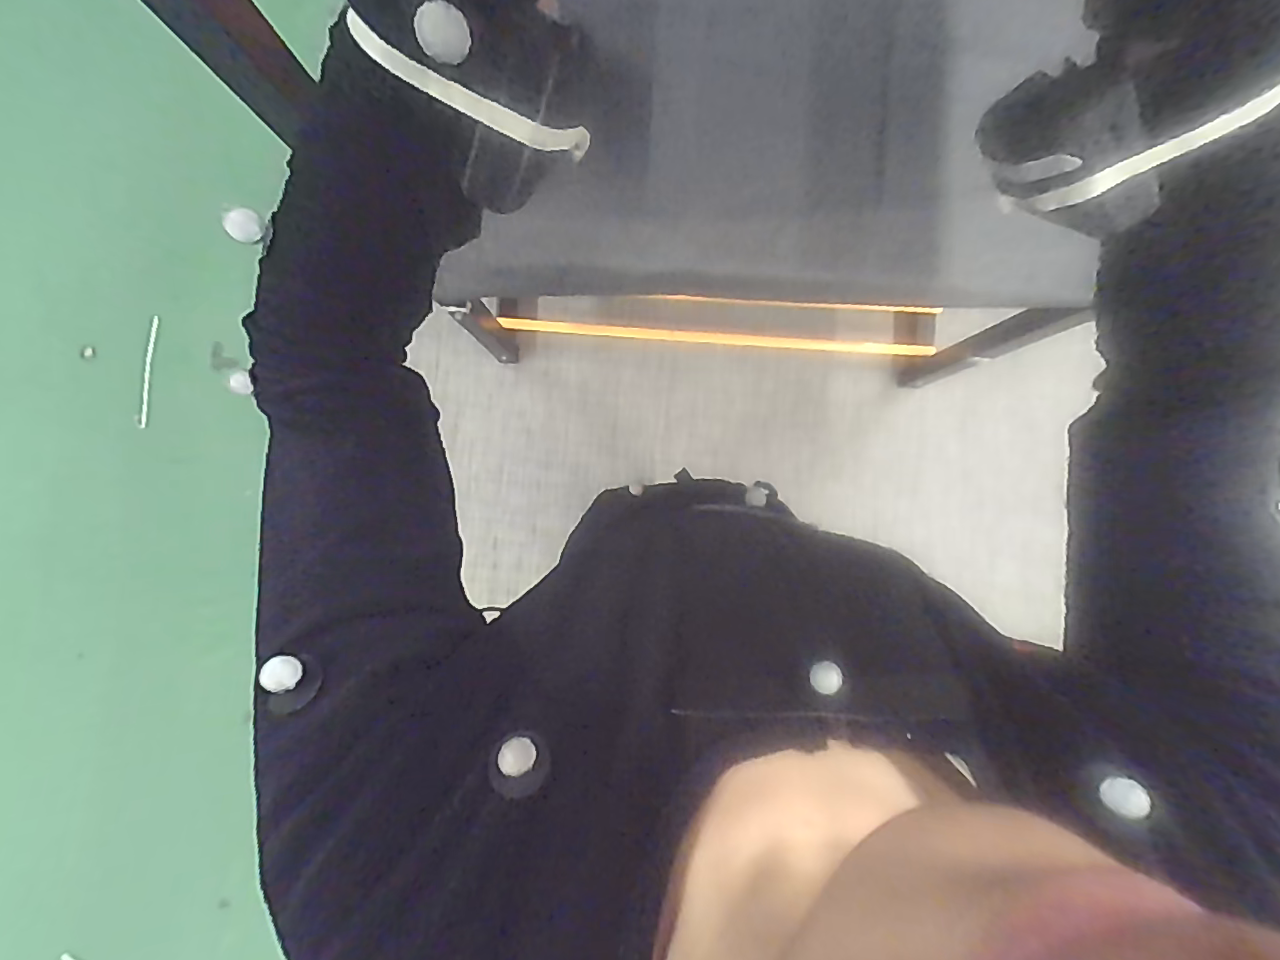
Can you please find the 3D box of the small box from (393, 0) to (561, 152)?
[{"bbox_3d":[-0.199,-0.571,0.707,0.168,0.176,0.179,4,88,0],"label":"small box"}]
